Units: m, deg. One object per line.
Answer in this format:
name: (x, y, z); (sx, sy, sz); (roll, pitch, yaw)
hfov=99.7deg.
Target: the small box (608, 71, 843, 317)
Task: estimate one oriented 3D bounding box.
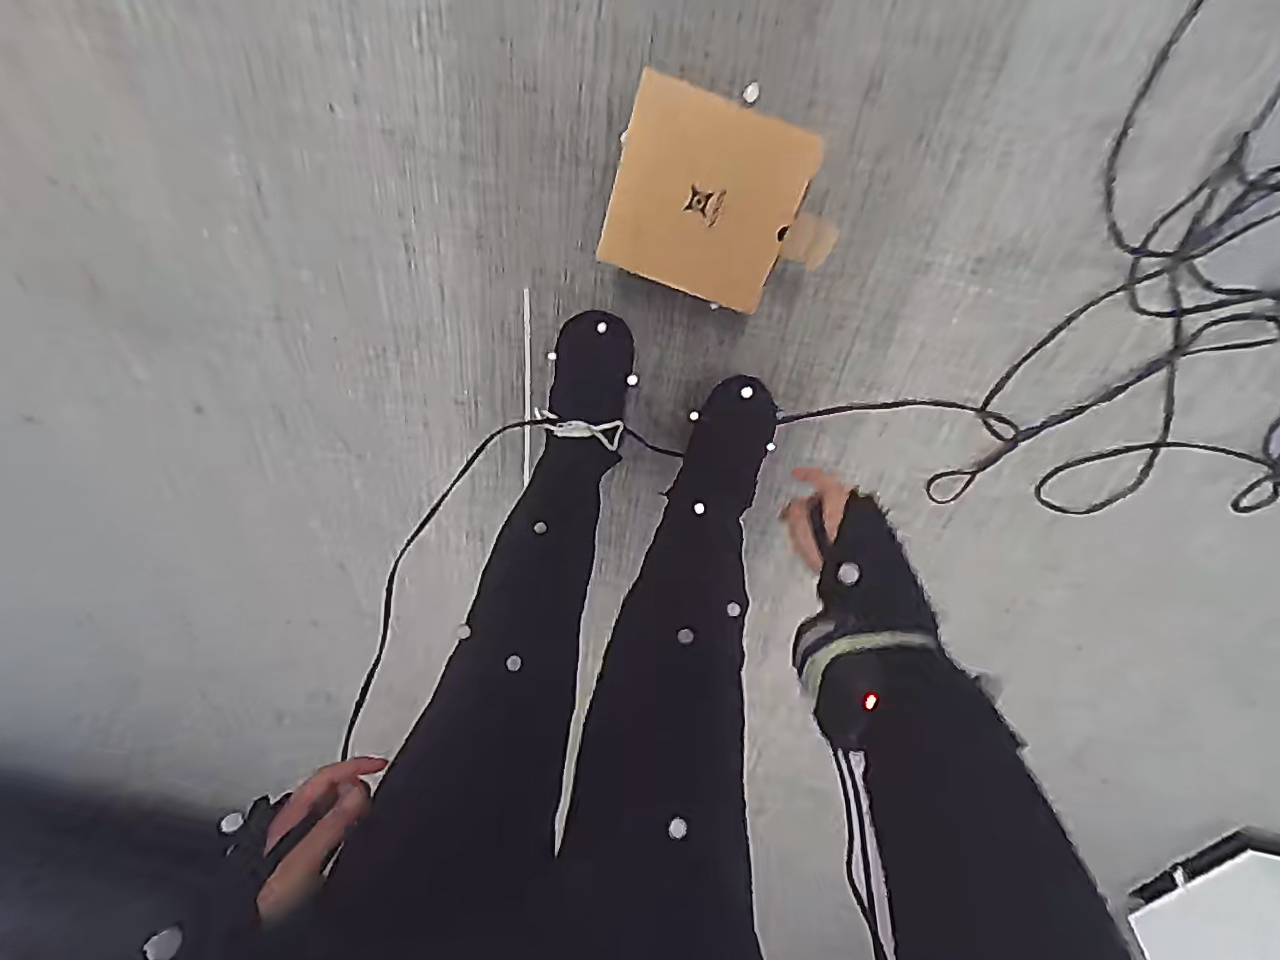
small box: (0.083, -0.302, 0.578); (0.179, 0.176, 0.168); (19, 124, -4)
